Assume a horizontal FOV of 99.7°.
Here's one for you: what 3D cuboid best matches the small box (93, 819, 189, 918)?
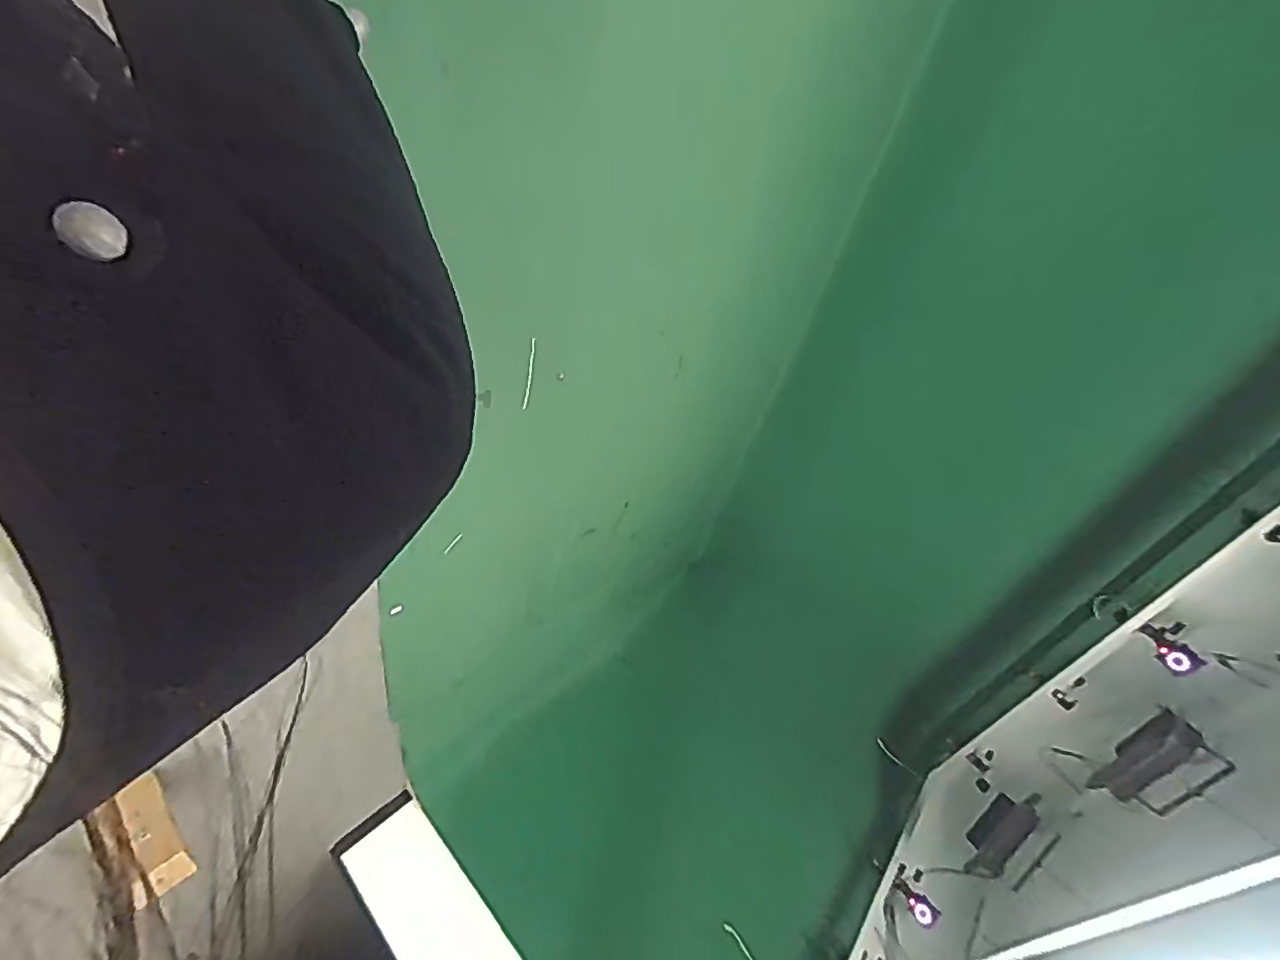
[{"bbox_3d":[-1.588,1.230,1.723,0.168,0.176,0.179,-28,144,-43],"label":"small box"}]

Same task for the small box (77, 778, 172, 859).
[{"bbox_3d":[-1.702,1.134,1.787,0.179,0.176,0.168,-25,143,-43],"label":"small box"}]
